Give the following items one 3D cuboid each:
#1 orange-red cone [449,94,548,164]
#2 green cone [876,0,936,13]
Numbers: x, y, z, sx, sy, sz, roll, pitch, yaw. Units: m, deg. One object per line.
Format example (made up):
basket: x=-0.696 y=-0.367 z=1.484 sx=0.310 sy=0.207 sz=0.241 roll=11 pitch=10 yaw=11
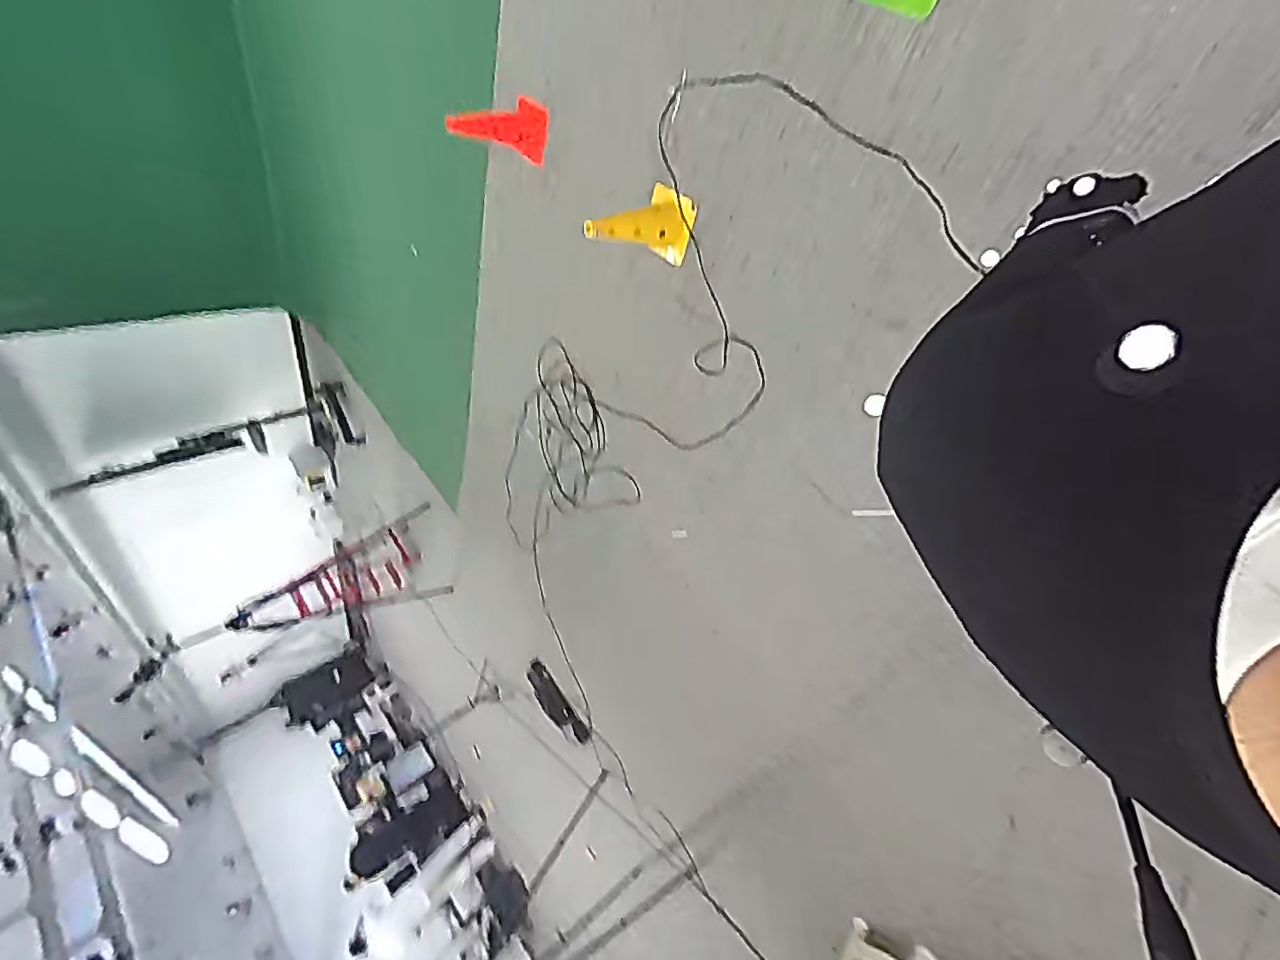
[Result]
orange-red cone: x=-0.553 y=-1.340 z=2.050 sx=0.199 sy=0.360 sz=0.198 roll=44 pitch=138 yaw=23
green cone: x=0.458 y=-1.076 z=1.039 sx=0.200 sy=0.368 sz=0.202 roll=44 pitch=138 yaw=25
